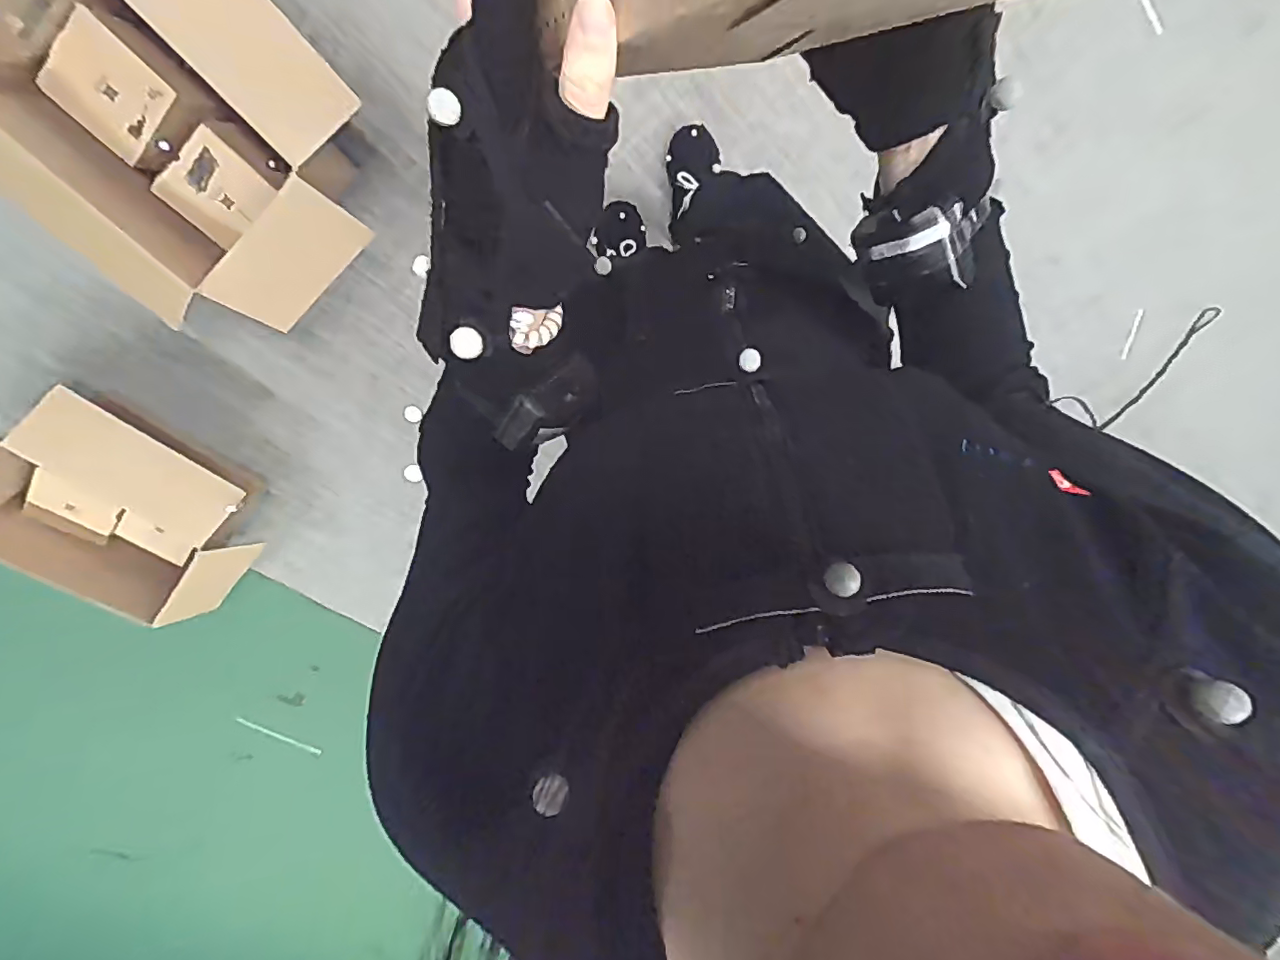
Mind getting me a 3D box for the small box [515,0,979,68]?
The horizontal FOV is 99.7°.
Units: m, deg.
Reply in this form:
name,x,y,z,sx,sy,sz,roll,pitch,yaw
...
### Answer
name,x,y,z,sx,sy,sz,roll,pitch,yaw
small box,0.047,-0.256,0.177,0.168,0.179,0.176,-28,127,-27
